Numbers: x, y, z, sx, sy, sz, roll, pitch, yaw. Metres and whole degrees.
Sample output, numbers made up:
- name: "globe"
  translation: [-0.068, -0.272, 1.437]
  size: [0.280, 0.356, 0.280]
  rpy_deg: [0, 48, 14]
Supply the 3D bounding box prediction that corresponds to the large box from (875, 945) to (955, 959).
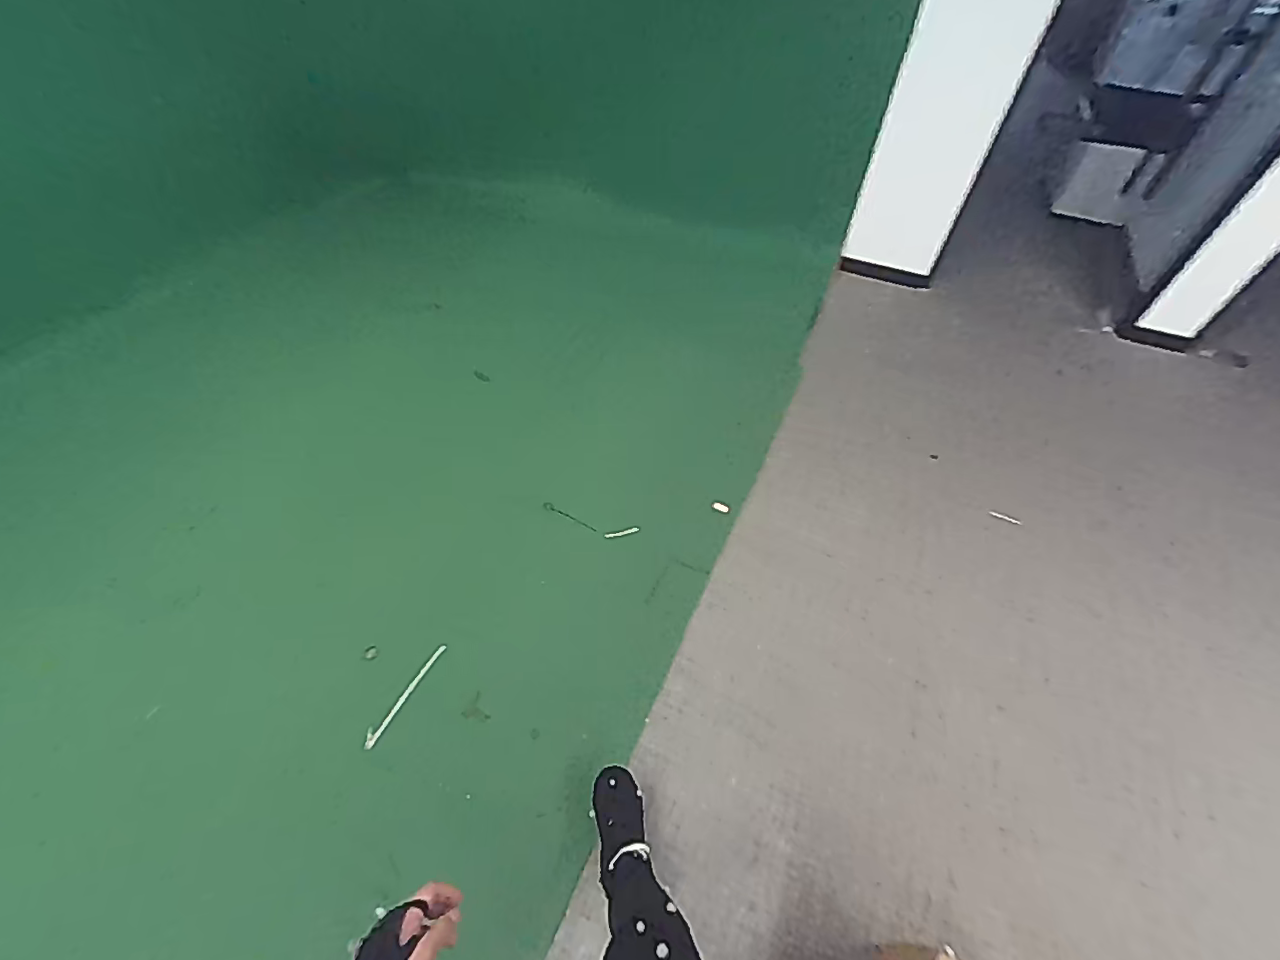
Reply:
- name: "large box"
  translation: [0.555, 1.152, 0.958]
  size: [0.320, 0.320, 0.408]
  rpy_deg: [30, 56, 21]
